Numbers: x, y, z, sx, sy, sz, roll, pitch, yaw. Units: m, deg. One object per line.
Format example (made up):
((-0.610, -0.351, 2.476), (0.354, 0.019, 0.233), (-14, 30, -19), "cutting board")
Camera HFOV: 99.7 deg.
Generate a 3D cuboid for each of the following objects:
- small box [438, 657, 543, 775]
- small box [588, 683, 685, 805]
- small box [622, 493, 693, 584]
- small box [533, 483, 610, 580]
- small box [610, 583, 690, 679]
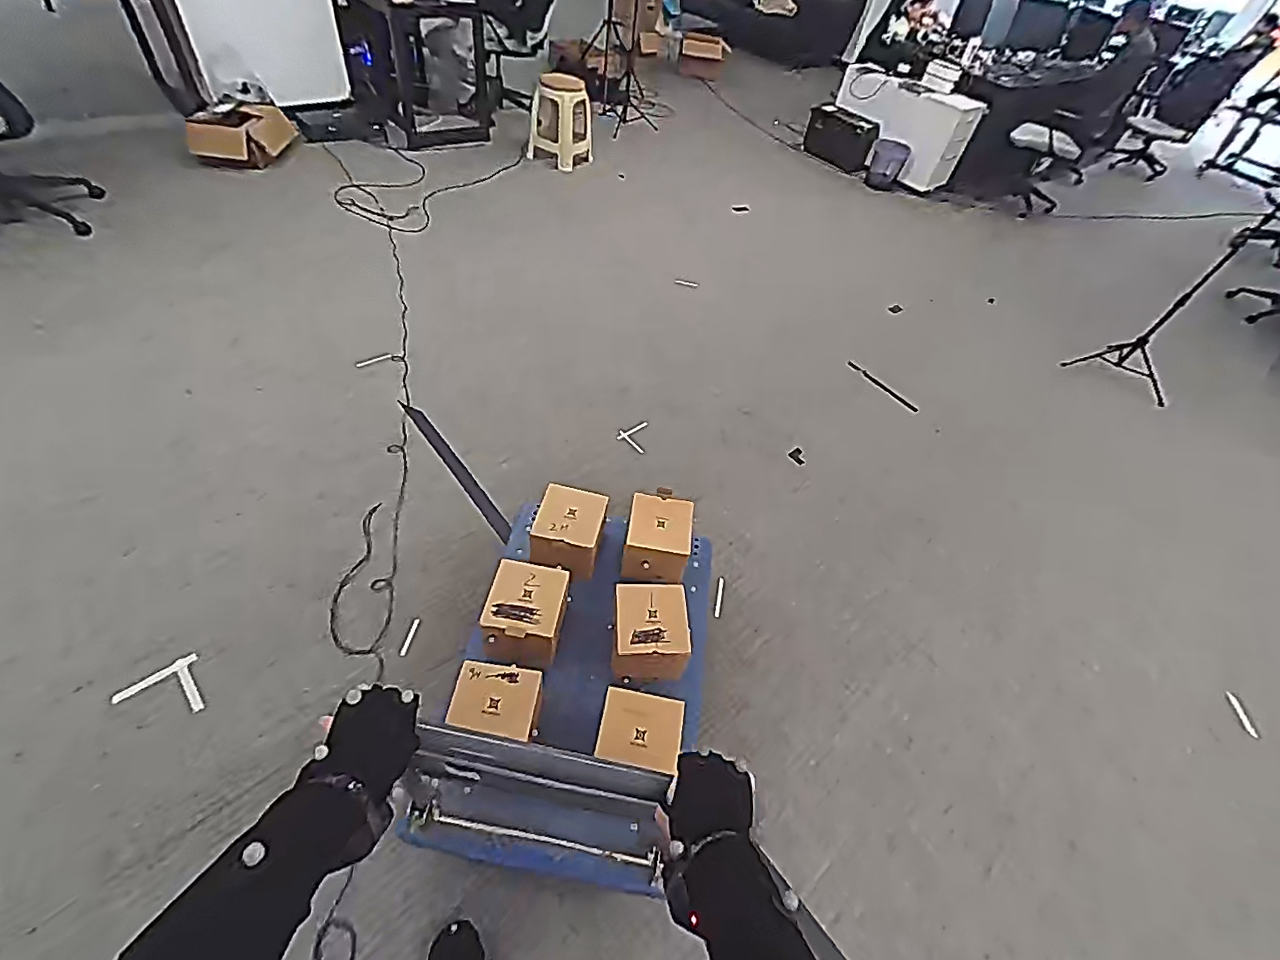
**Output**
((-0.303, 0.499, 1.133), (0.168, 0.176, 0.179), (10, 49, -3), "small box")
((-0.011, 0.560, 1.137), (0.168, 0.176, 0.179), (14, 48, 0), "small box")
((0.046, 0.165, 1.485), (0.168, 0.176, 0.179), (10, 49, -2), "small box")
((-0.186, 0.141, 1.460), (0.168, 0.176, 0.179), (14, 50, 1), "small box")
((0.019, 0.367, 1.305), (0.168, 0.176, 0.179), (3, 49, -7), "small box")
